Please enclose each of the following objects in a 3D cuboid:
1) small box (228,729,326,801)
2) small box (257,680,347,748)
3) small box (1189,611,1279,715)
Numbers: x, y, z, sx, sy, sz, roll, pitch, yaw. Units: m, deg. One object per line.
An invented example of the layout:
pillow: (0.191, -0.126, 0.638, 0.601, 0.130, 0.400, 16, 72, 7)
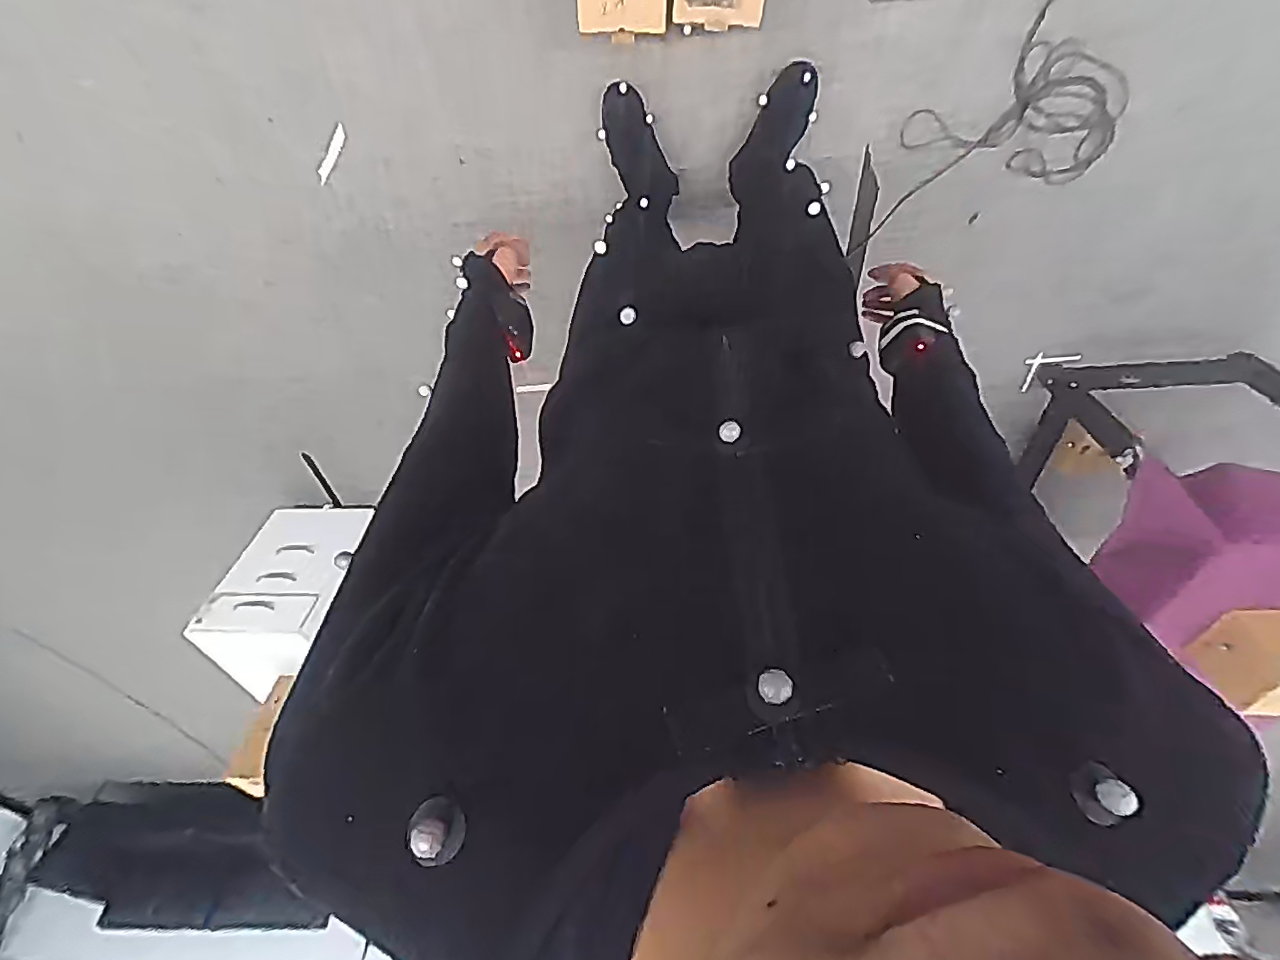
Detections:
small box: (-1.170, 0.925, 1.757, 0.168, 0.176, 0.179, -2, 134, 7)
small box: (-1.163, 0.810, 1.874, 0.179, 0.176, 0.168, 1, 133, 3)
small box: (1.416, 0.406, 1.206, 0.179, 0.176, 0.168, -2, 132, 5)
